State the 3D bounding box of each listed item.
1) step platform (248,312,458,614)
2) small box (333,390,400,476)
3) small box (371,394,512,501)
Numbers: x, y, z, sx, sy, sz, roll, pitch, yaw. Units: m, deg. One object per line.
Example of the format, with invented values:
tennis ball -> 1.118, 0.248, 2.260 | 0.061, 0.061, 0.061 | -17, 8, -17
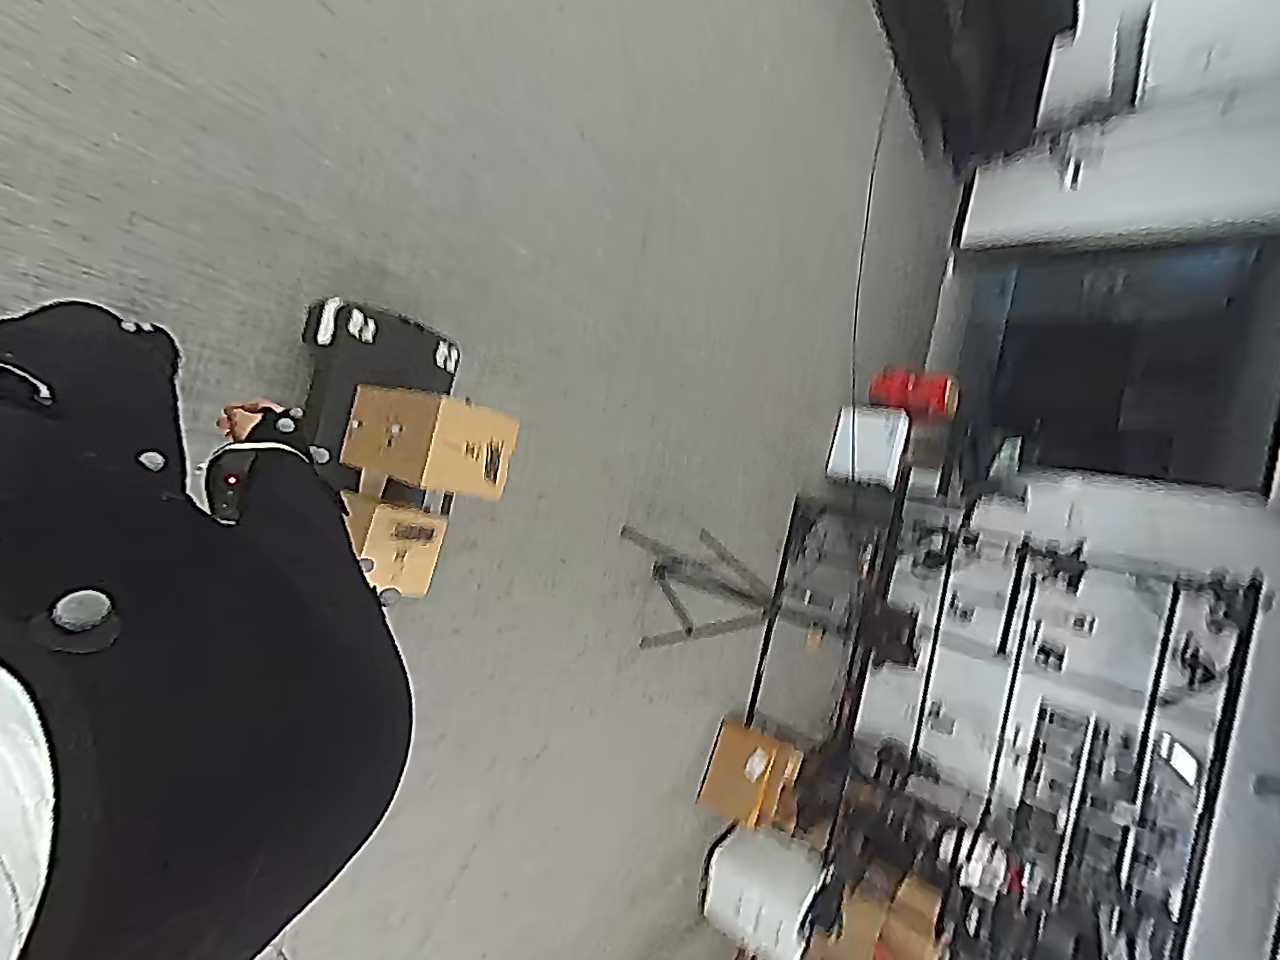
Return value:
step platform -> -0.659, -0.034, 1.274 | 0.286, 0.204, 0.684 | 15, 87, -52
small box -> -0.517, -0.090, 1.156 | 0.179, 0.176, 0.168 | 18, 85, -52
small box -> -0.387, -0.065, 1.058 | 0.179, 0.176, 0.168 | 17, 86, -52
